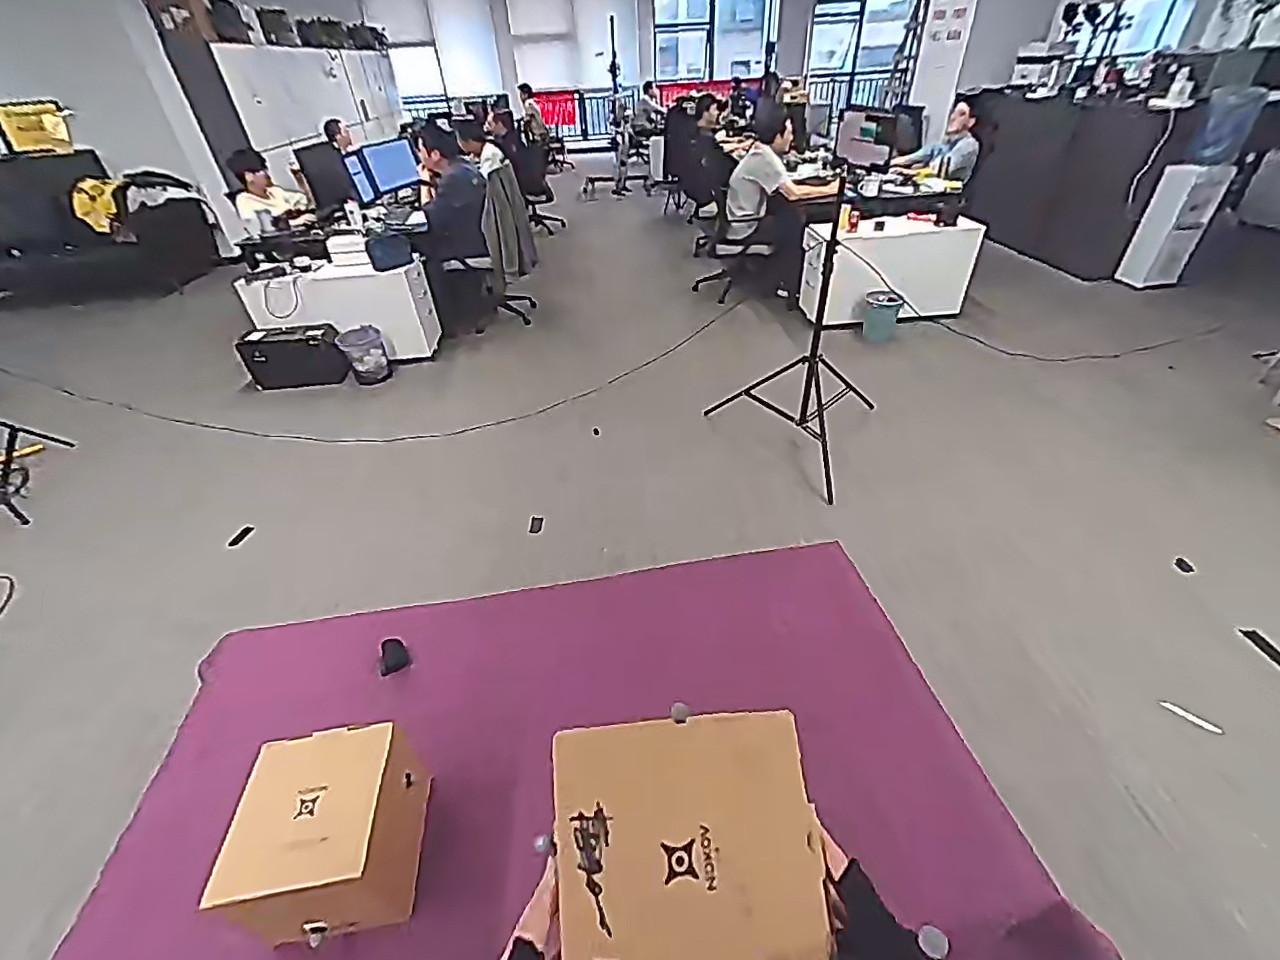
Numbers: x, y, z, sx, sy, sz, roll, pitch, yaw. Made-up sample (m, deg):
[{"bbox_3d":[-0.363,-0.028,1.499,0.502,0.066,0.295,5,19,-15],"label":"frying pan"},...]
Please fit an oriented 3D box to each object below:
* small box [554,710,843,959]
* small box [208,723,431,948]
[{"bbox_3d":[0.024,0.275,0.421,0.179,0.176,0.168,-2,65,-10],"label":"small box"},{"bbox_3d":[-0.375,0.441,0.678,0.168,0.176,0.179,-9,39,-5],"label":"small box"}]
